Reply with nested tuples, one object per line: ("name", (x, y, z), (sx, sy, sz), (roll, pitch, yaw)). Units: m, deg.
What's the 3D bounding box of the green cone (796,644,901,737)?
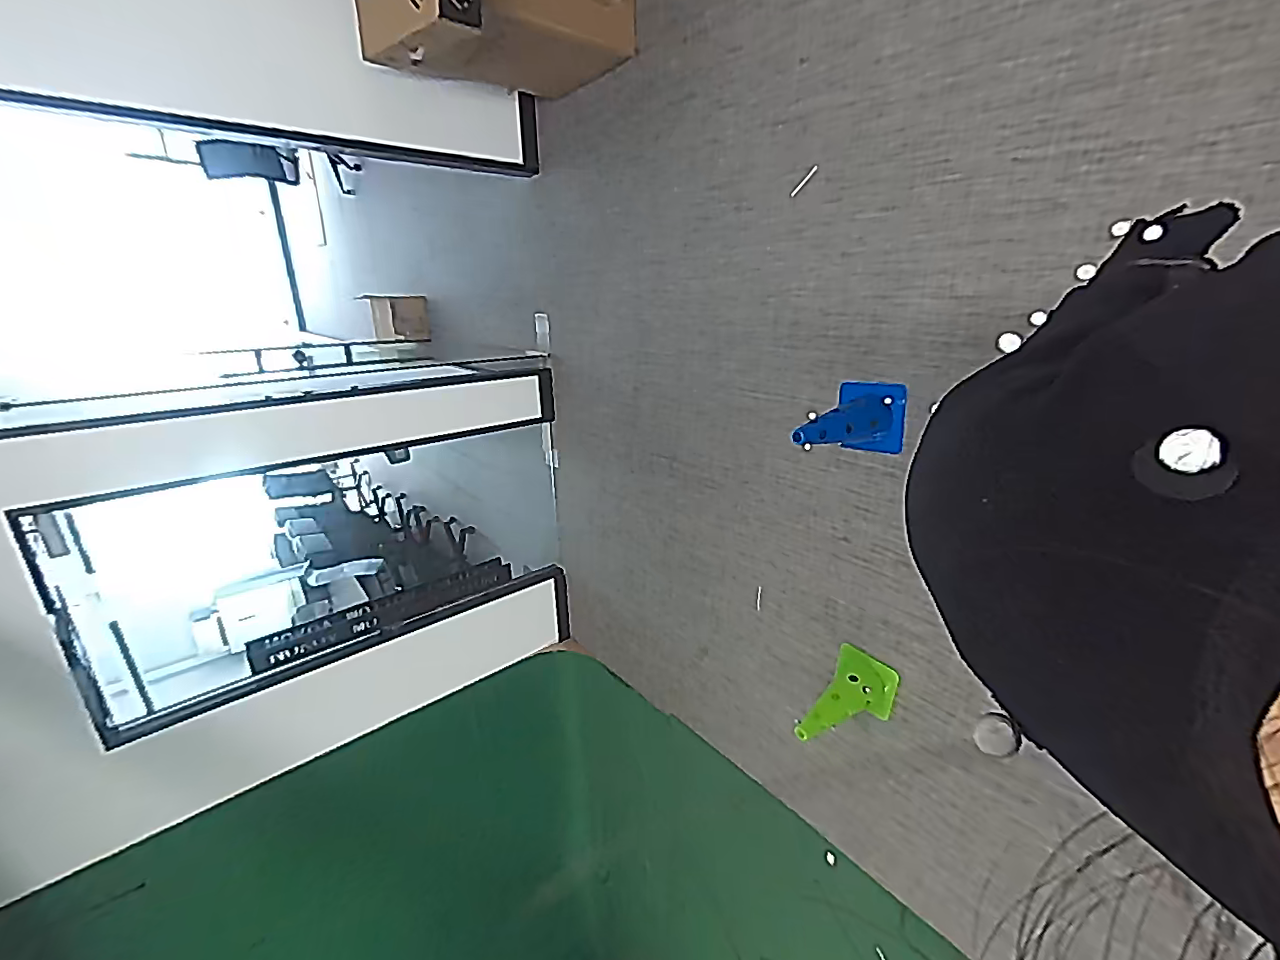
("green cone", (0.606, 0.690, 1.656), (0.200, 0.368, 0.202), (25, 120, 46))
